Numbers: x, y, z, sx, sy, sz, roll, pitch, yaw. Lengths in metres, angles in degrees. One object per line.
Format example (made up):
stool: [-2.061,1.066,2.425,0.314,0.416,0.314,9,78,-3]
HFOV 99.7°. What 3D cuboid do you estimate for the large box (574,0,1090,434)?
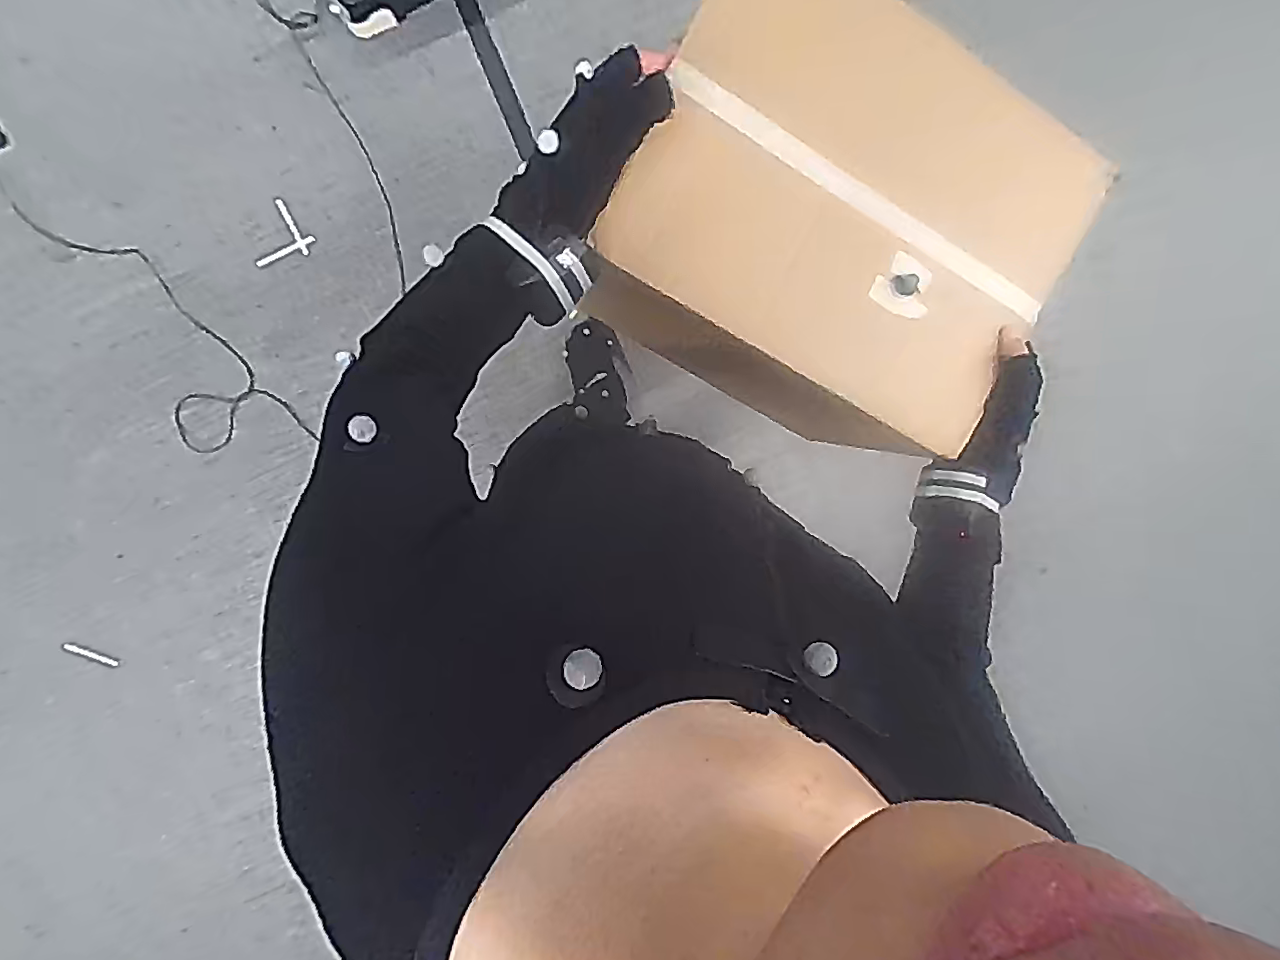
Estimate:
large box: [0.167,-0.281,0.632,0.408,0.320,0.320,26,94,-11]
